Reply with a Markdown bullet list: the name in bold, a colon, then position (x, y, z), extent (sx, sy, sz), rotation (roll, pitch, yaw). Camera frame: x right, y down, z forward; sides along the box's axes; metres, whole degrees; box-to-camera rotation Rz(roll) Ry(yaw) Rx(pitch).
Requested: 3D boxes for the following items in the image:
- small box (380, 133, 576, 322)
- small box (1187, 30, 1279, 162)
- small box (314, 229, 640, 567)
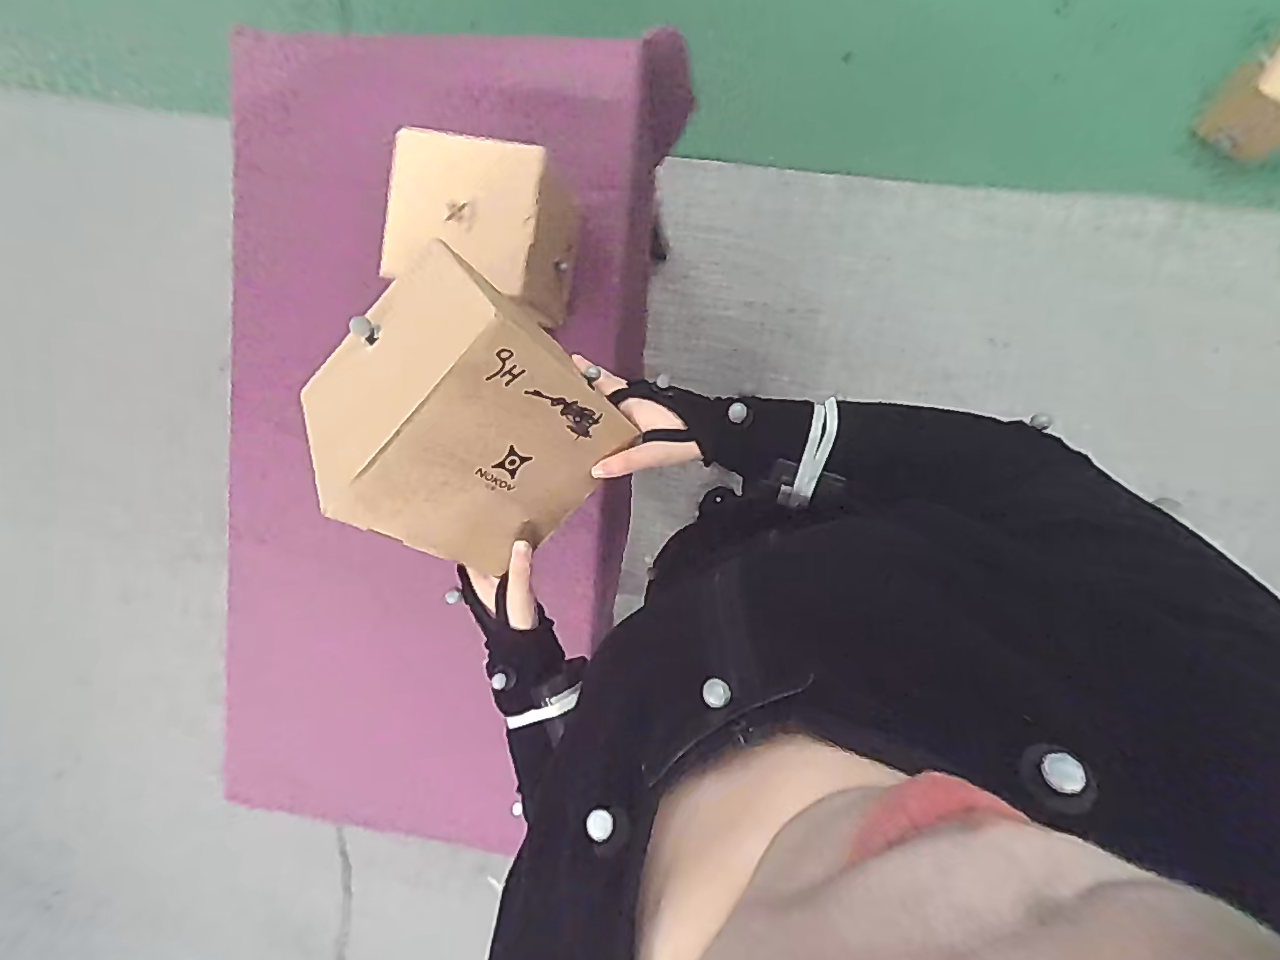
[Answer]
- **small box**: position (-0.197, -0.309, 0.696), extent (0.179, 0.176, 0.168), rotation (11, 96, 6)
- **small box**: position (1.389, -0.855, 1.190), extent (0.168, 0.176, 0.179), rotation (33, 97, 4)
- **small box**: position (-0.138, -0.065, 0.444), extent (0.179, 0.168, 0.176), rotation (-44, 50, 6)
